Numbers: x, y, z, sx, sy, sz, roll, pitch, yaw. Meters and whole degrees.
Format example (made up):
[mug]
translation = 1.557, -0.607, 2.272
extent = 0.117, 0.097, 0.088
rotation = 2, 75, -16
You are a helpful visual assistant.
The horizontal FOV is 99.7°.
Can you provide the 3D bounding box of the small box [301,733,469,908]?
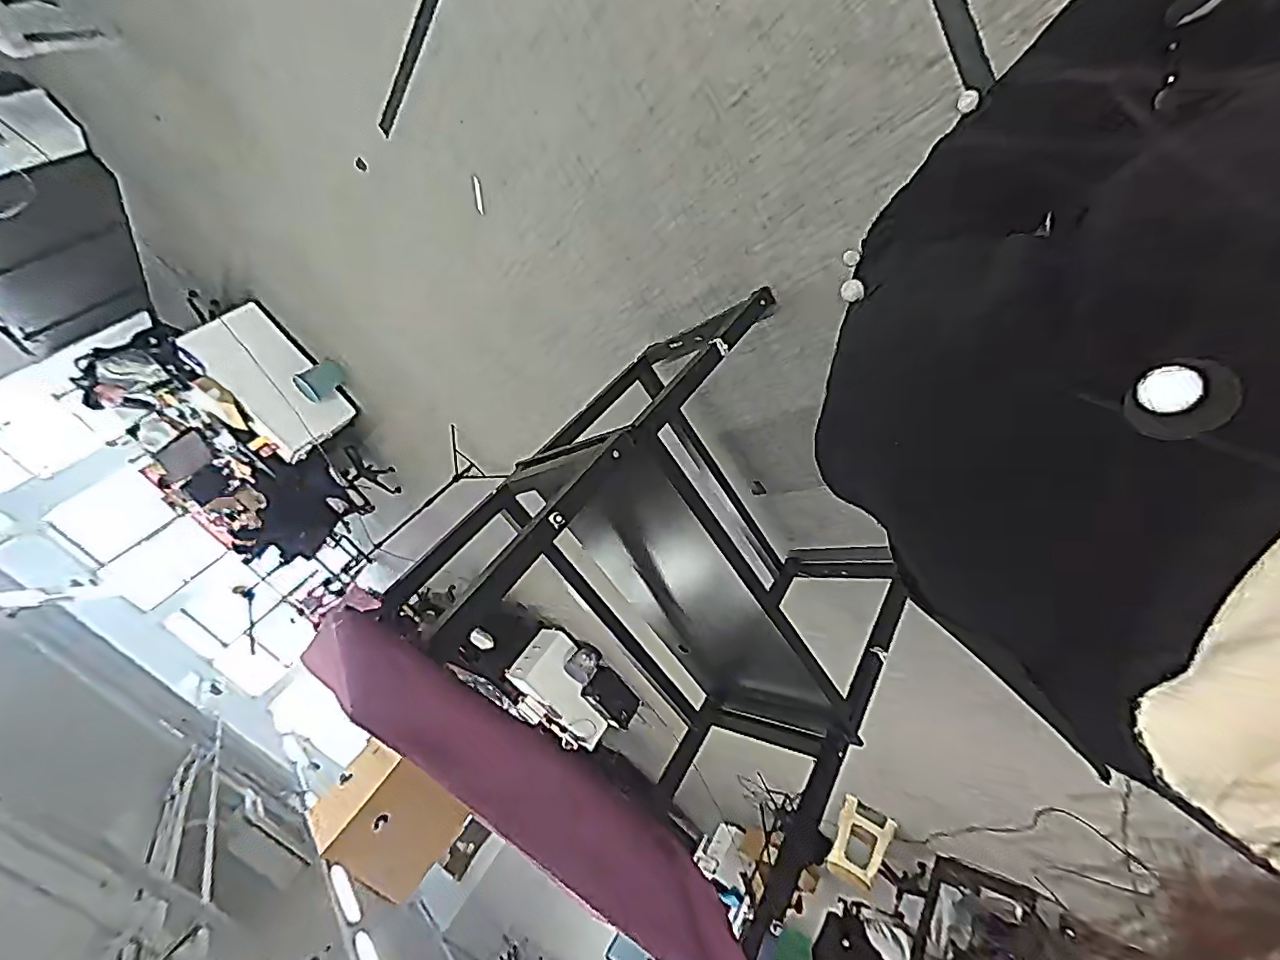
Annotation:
[small box]
translation = -0.437, 0.573, 0.934
extent = 0.168, 0.176, 0.179
rotation = -7, 126, 51
